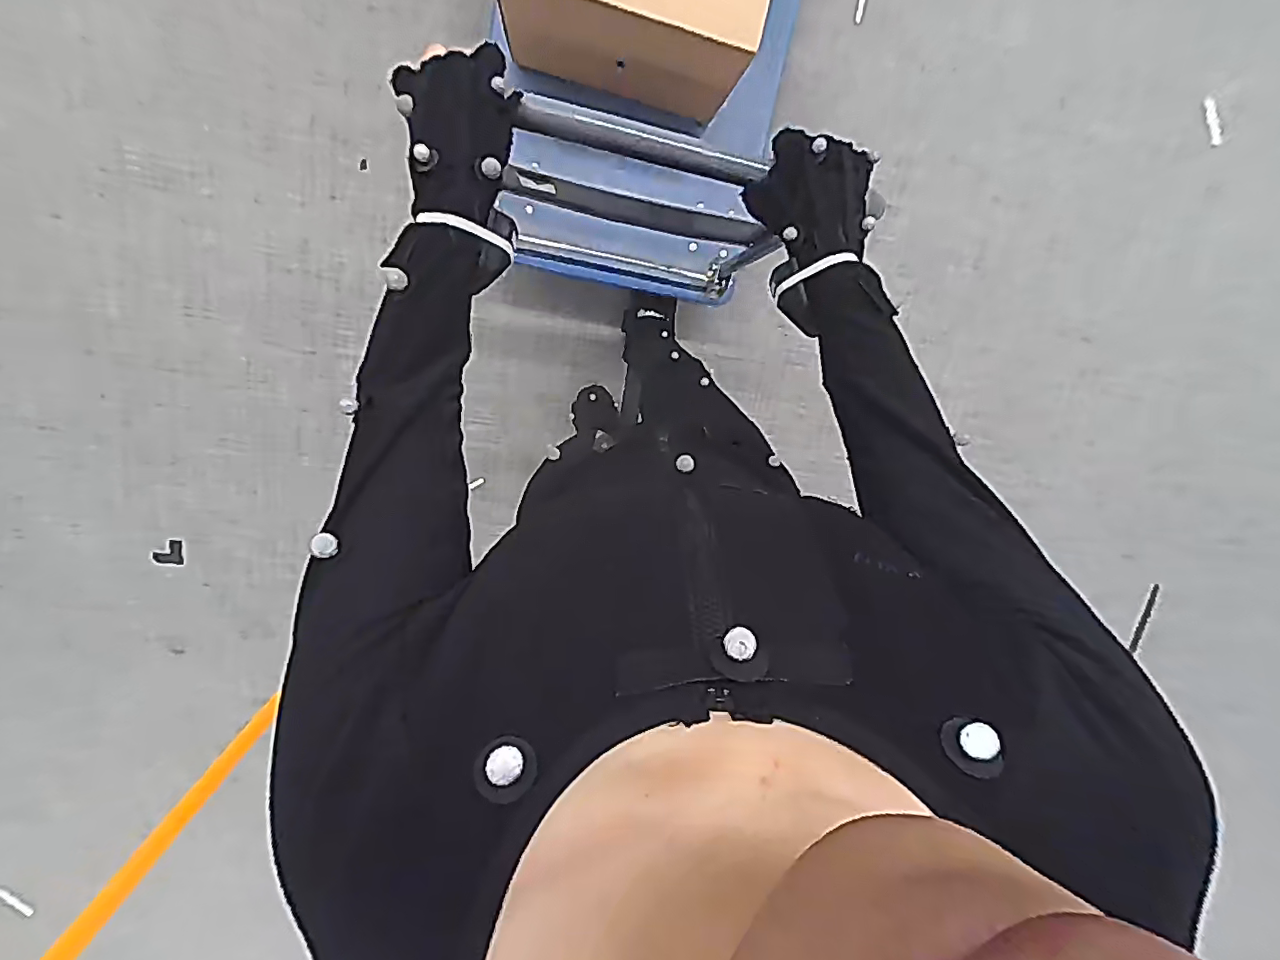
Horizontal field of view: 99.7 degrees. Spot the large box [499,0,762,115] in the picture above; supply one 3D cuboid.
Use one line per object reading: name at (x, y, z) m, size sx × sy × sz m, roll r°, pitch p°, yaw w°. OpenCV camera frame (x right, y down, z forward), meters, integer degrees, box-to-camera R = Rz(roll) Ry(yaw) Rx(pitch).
large box at (-0.005, -0.882, 0.911) m, size 0.408 × 0.320 × 0.320 m, roll 10°, pitch 104°, yaw -9°
